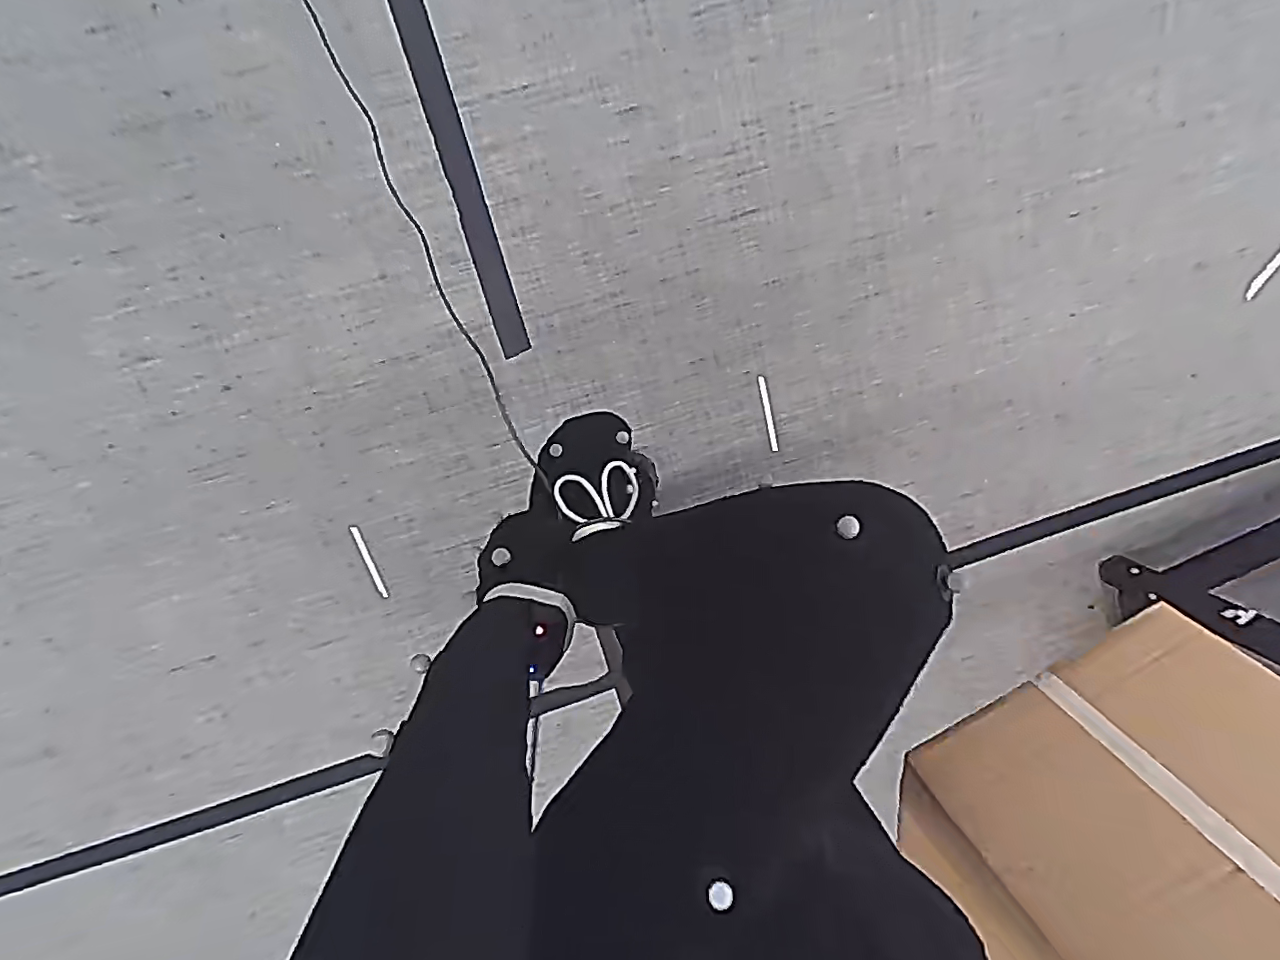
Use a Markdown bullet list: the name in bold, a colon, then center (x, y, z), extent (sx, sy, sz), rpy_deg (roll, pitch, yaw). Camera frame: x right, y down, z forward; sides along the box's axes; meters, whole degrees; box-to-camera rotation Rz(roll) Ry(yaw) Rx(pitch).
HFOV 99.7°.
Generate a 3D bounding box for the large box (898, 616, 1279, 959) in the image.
- **large box**: center (0.496, 0.411, 0.472), extent (0.320, 0.408, 0.320), rpy_deg (-27, 130, -6)
